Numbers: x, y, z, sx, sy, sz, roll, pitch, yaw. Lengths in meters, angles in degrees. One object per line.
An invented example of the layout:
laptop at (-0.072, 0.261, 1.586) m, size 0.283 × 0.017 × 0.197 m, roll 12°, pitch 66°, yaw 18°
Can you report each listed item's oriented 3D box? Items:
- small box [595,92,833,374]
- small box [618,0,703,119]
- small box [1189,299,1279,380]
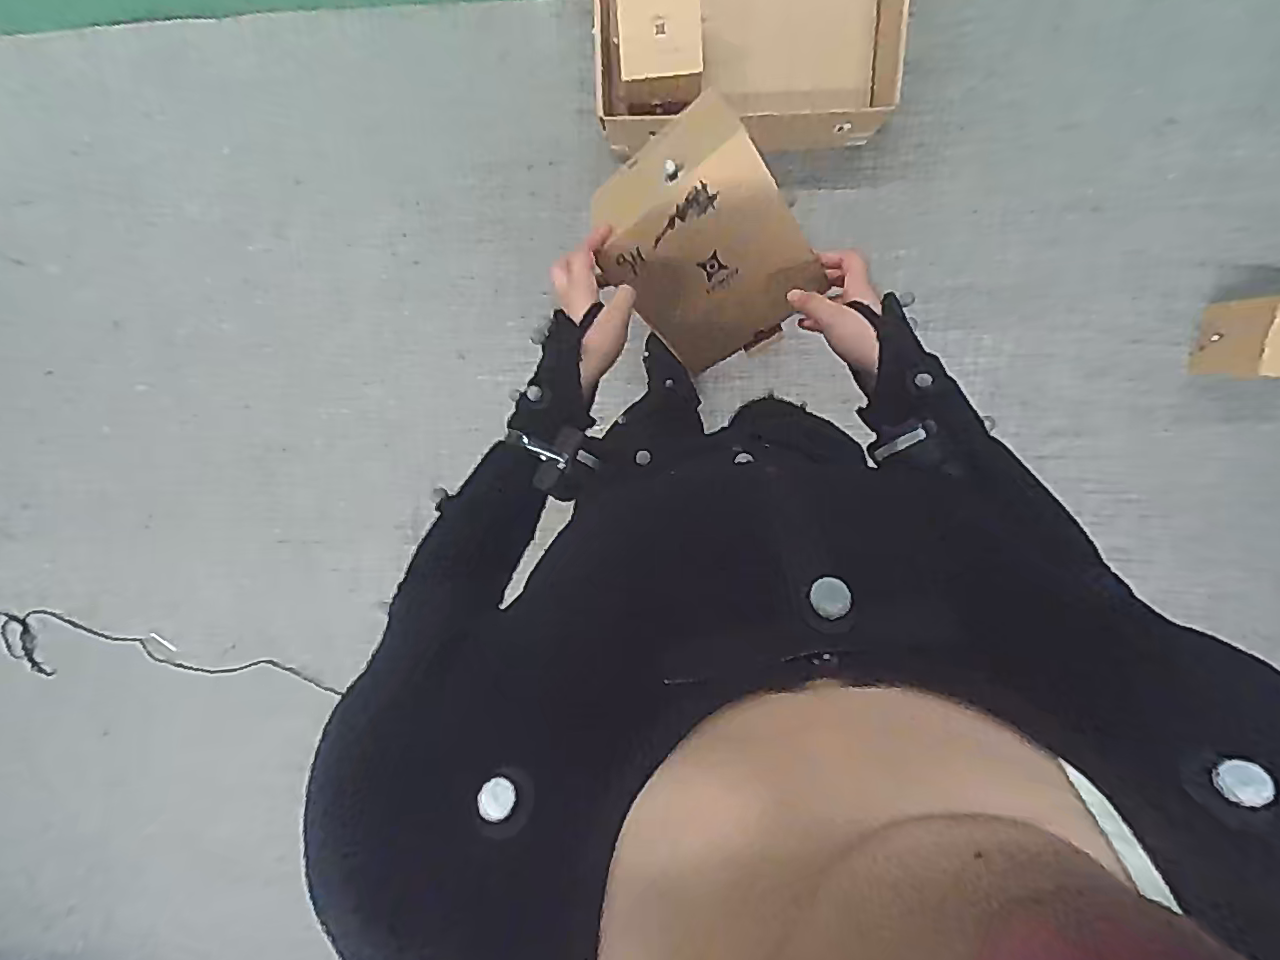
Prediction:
small box at (0.070, -0.253, 0.561) m, size 0.168 × 0.176 × 0.179 m, roll -31°, pitch 131°, yaw 24°
small box at (0.045, -0.897, 1.137) m, size 0.168 × 0.176 × 0.179 m, roll -3°, pitch 104°, yaw 5°
small box at (1.432, -0.314, 1.227) m, size 0.179 × 0.176 × 0.168 m, roll 5°, pitch 102°, yaw 3°
